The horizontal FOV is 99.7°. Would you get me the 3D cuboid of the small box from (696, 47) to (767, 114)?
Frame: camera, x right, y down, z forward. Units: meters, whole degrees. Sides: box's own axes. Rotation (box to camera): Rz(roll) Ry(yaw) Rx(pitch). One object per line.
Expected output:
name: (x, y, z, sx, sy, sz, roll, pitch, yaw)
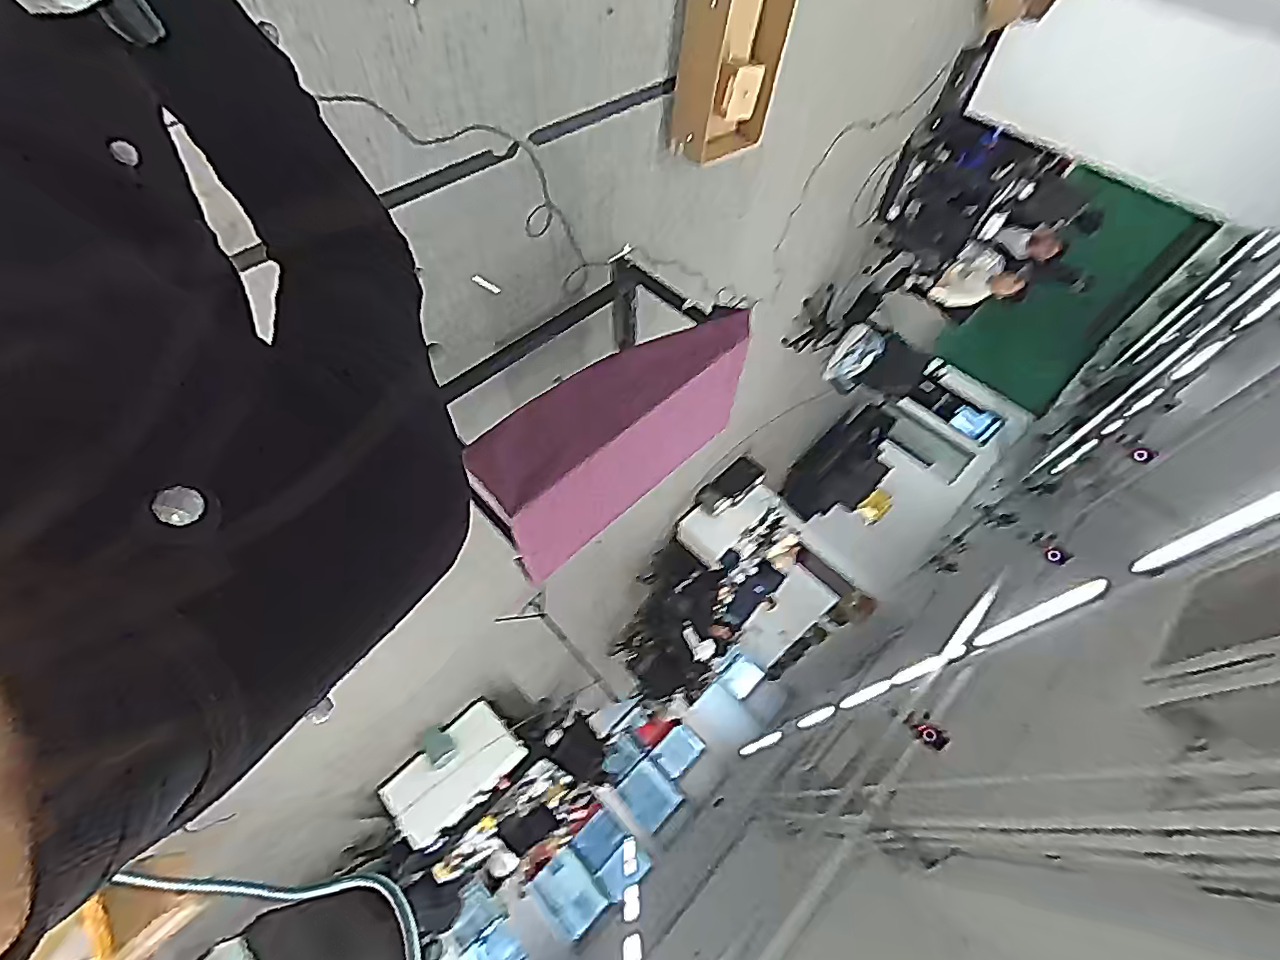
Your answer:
small box: (0.339, -1.505, 2.039, 0.179, 0.176, 0.168, -33, 154, -35)
